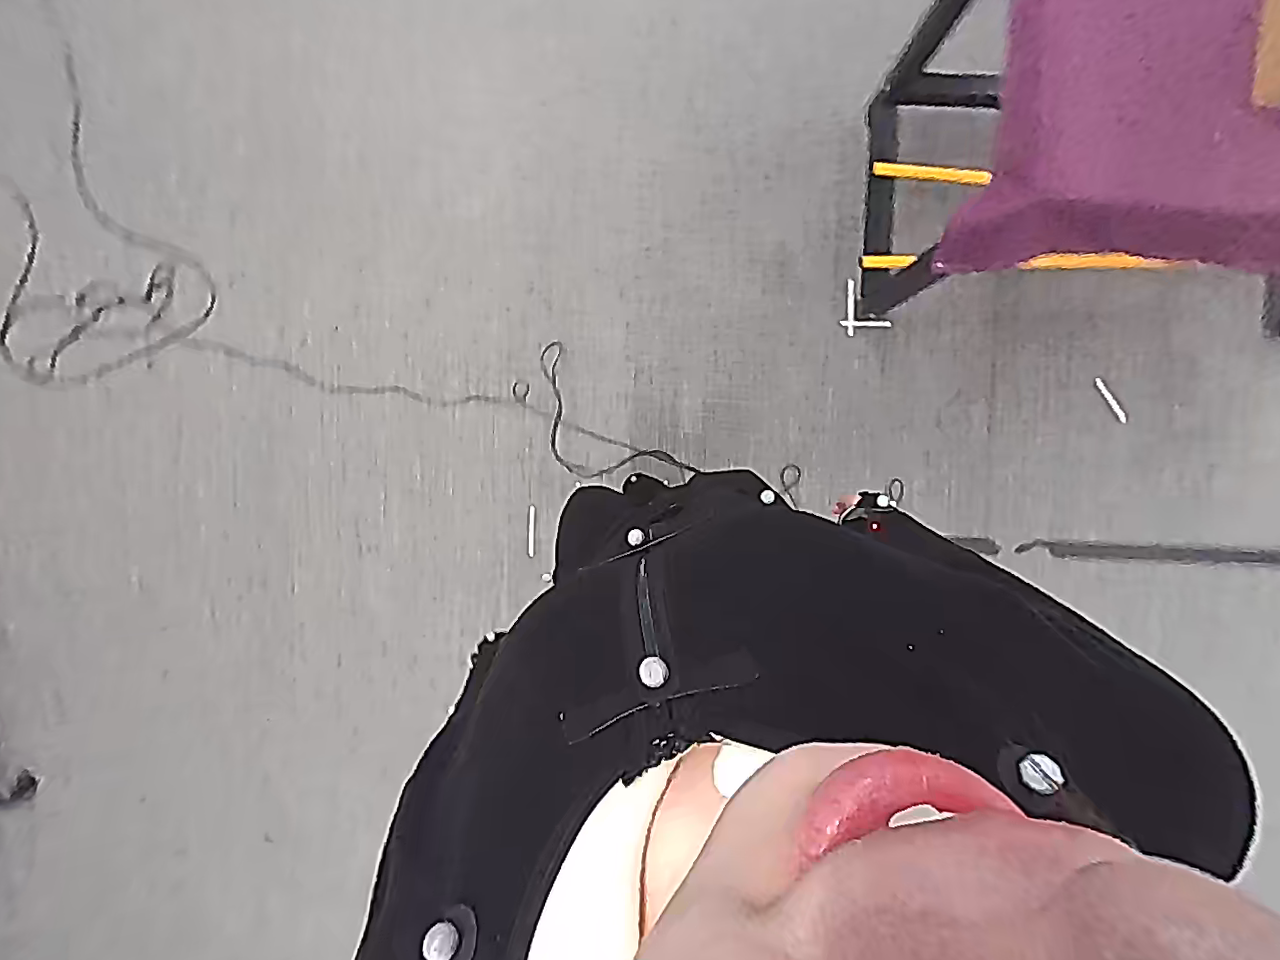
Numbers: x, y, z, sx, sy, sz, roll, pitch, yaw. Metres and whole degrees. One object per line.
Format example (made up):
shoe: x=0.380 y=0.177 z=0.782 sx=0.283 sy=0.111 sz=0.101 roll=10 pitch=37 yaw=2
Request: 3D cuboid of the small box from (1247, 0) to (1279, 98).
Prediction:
small box: x=0.914 y=-0.596 z=0.658 sx=0.168 sy=0.176 sz=0.179 roll=4 pitch=91 yaw=1
